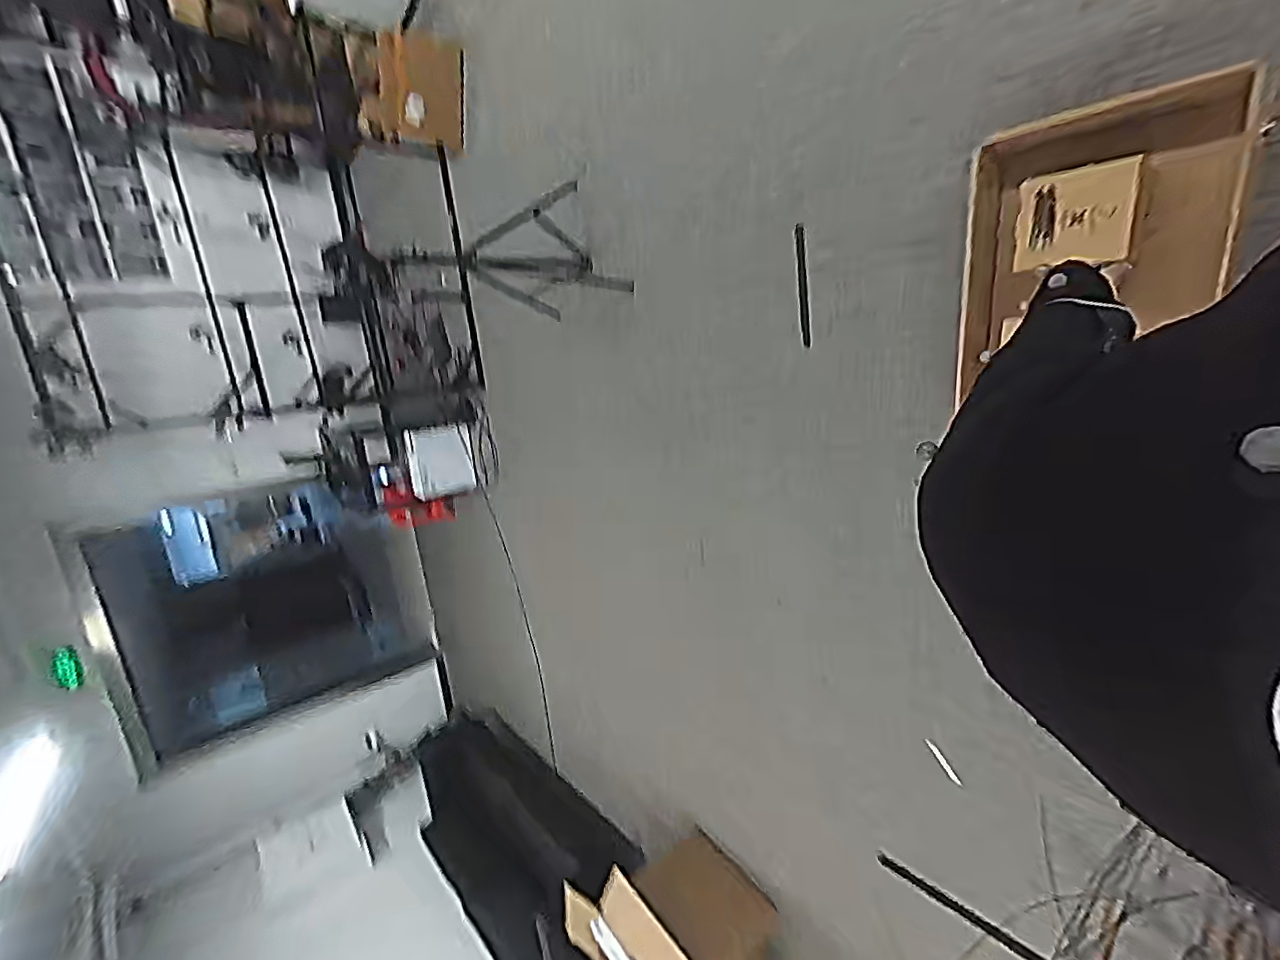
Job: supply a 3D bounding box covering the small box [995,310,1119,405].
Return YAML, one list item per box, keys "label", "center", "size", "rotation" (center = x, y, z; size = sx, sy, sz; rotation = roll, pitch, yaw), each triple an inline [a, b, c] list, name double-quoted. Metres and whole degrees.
- label: "small box"
  center: [0.867, -0.257, 1.126]
  size: [0.168, 0.176, 0.179]
  rotation: [13, 111, 47]
